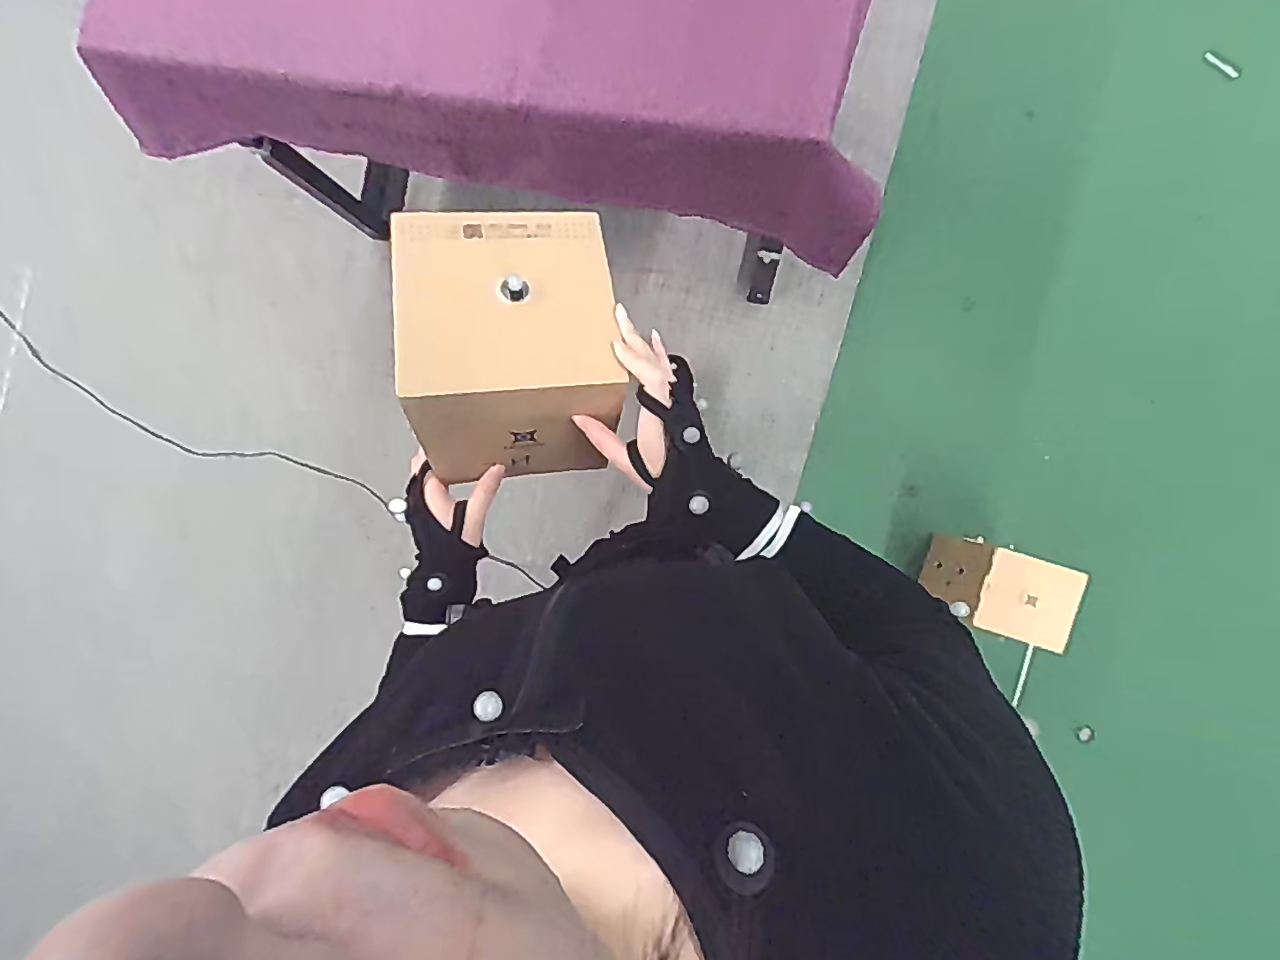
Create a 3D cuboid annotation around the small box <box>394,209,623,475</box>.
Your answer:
[{"bbox_3d":[-0.119,-0.119,0.493,0.168,0.179,0.176,-5,70,-13],"label":"small box"}]

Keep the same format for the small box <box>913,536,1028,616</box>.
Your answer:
[{"bbox_3d":[0.786,0.246,1.304,0.168,0.176,0.179,18,91,7],"label":"small box"}]

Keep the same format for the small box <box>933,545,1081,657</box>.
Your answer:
[{"bbox_3d":[0.762,0.244,1.142,0.179,0.176,0.168,18,92,8],"label":"small box"}]
